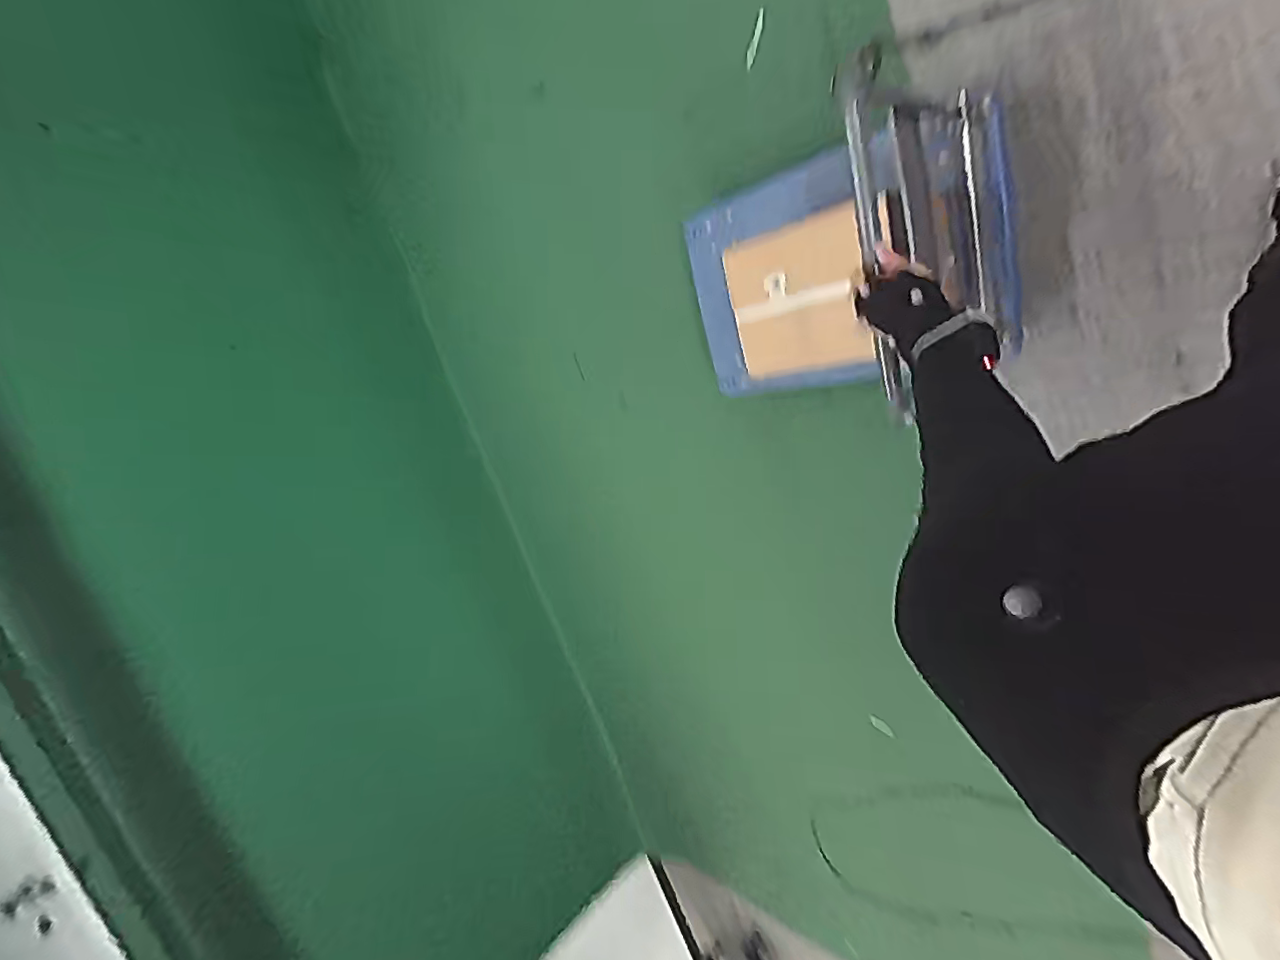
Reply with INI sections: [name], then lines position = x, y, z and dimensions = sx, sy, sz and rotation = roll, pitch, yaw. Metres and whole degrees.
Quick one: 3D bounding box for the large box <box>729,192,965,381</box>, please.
[large box]
position = 0.491, -0.449, 1.296
dimensions = 0.408, 0.320, 0.320
rotation = 1, 111, 50
